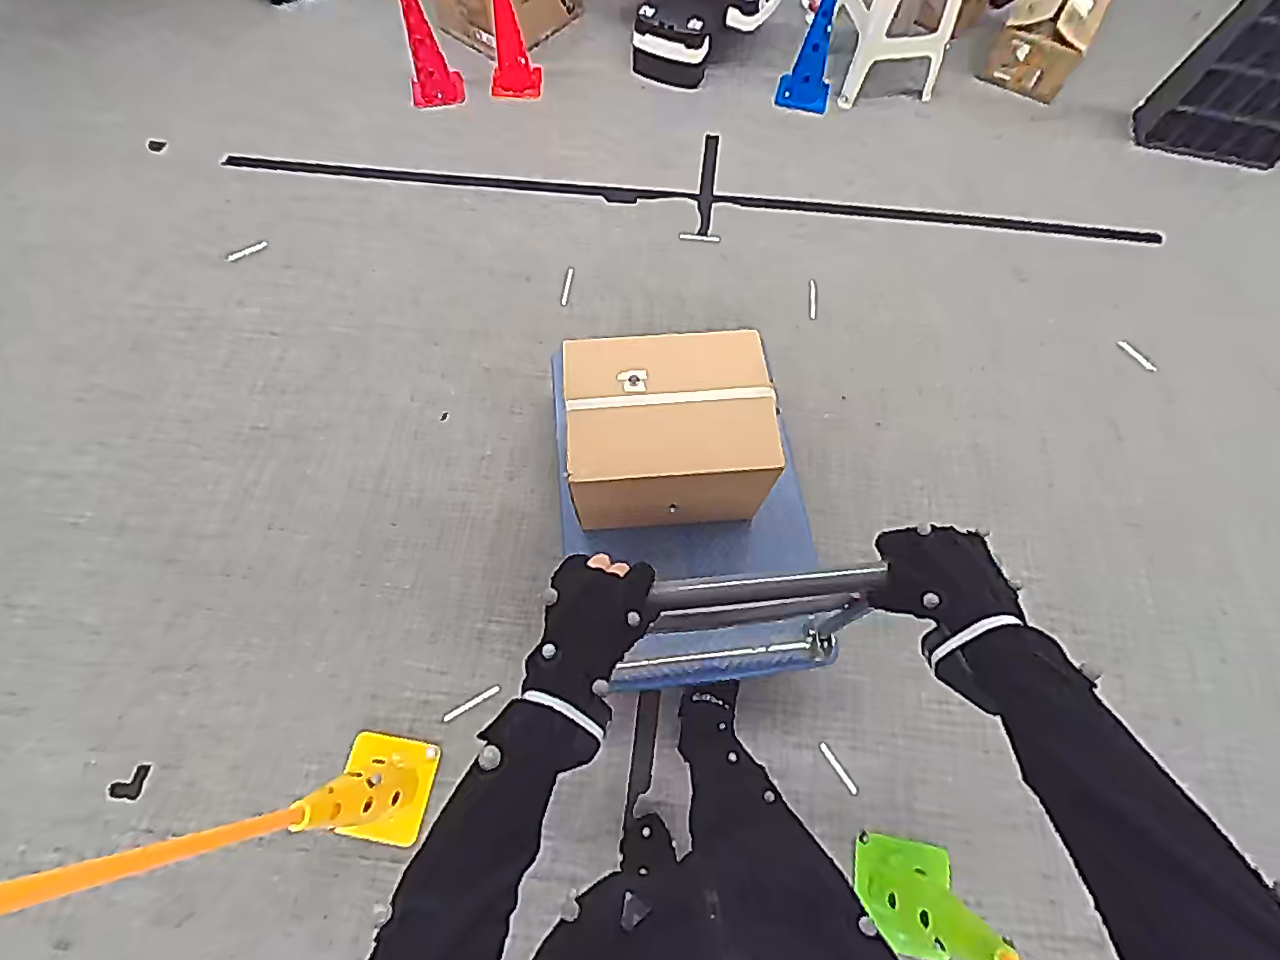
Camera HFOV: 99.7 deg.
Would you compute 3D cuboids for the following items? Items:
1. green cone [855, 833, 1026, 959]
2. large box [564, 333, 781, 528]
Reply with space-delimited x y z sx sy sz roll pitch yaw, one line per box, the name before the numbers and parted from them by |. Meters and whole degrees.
green cone | 0.556 0.803 0.975 0.202 0.368 0.200 11 67 2
large box | 0.056 -0.093 1.193 0.408 0.320 0.320 -4 68 -1
